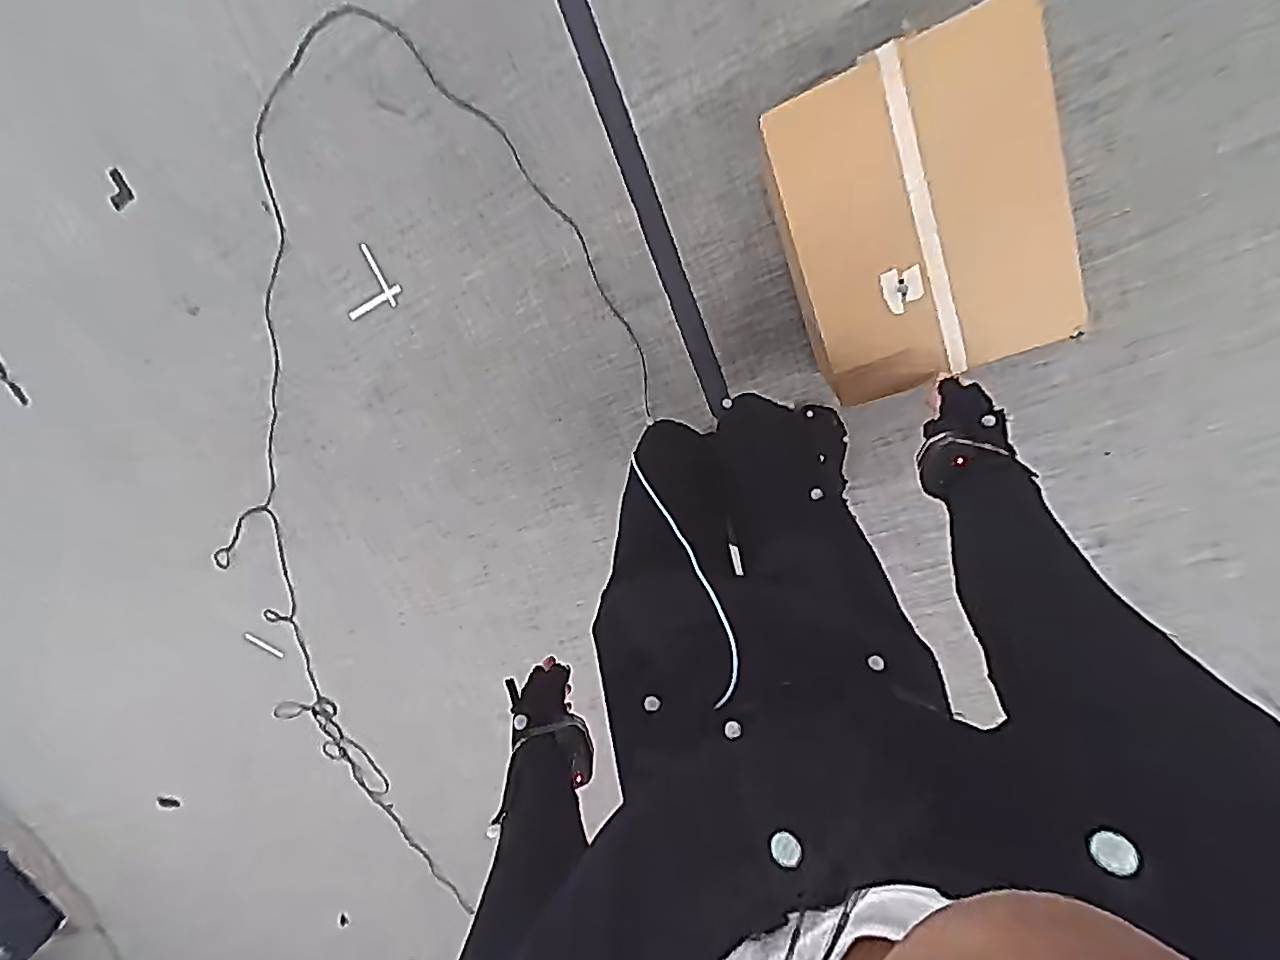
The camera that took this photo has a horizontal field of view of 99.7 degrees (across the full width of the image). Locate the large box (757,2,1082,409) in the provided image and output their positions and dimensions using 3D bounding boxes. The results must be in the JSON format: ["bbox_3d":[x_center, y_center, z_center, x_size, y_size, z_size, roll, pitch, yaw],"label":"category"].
[{"bbox_3d":[0.394,-0.377,0.841,0.320,0.320,0.408,-18,106,19],"label":"large box"}]
